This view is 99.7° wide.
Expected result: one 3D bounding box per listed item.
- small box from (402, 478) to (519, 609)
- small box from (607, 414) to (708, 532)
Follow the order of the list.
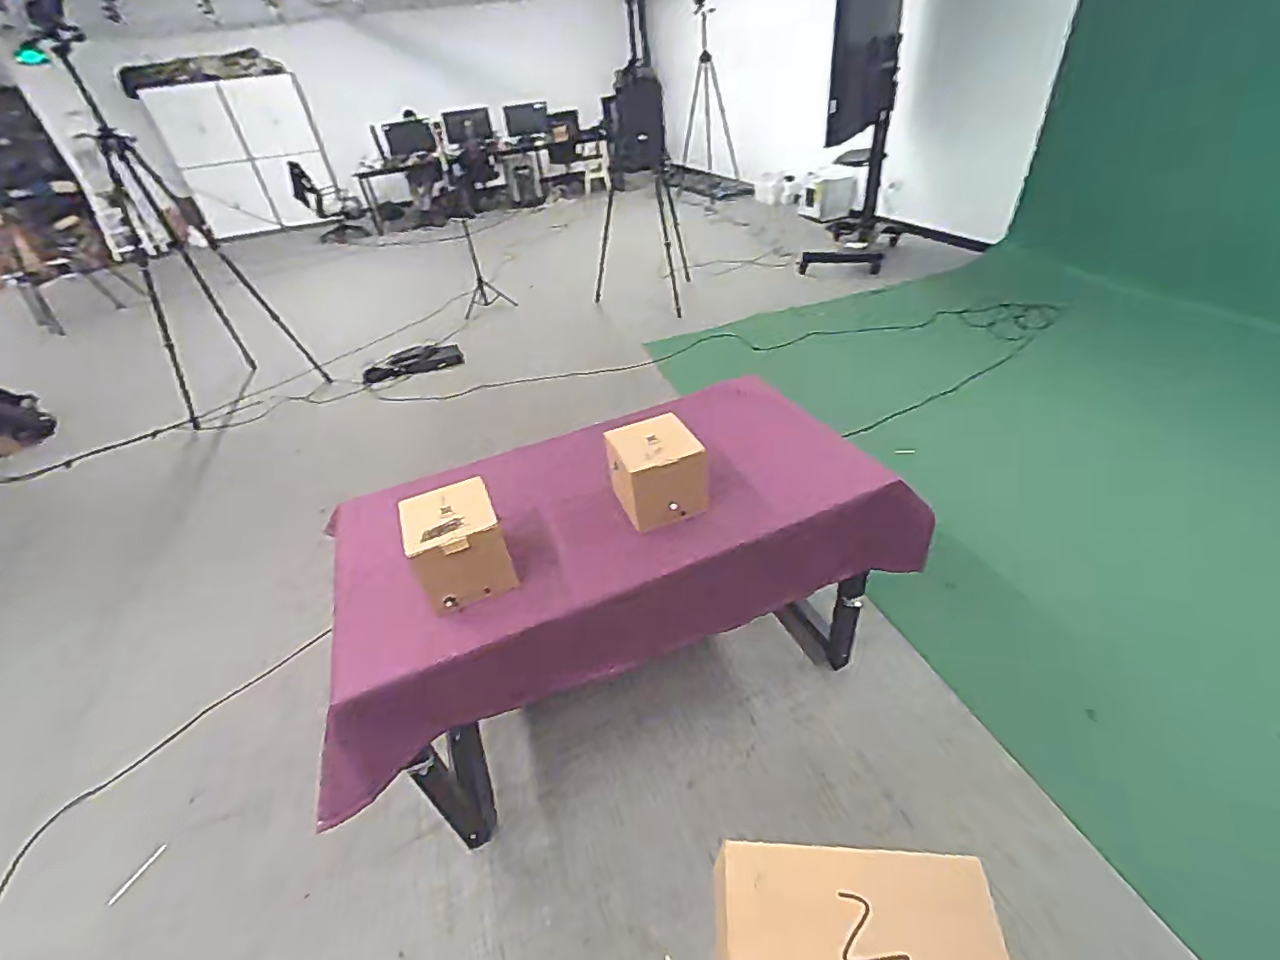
[{"bbox_3d":[-0.352,0.130,1.067,0.168,0.176,0.179,-19,38,-16],"label":"small box"},{"bbox_3d":[0.038,-0.017,1.185,0.168,0.176,0.179,-18,39,-12],"label":"small box"}]
